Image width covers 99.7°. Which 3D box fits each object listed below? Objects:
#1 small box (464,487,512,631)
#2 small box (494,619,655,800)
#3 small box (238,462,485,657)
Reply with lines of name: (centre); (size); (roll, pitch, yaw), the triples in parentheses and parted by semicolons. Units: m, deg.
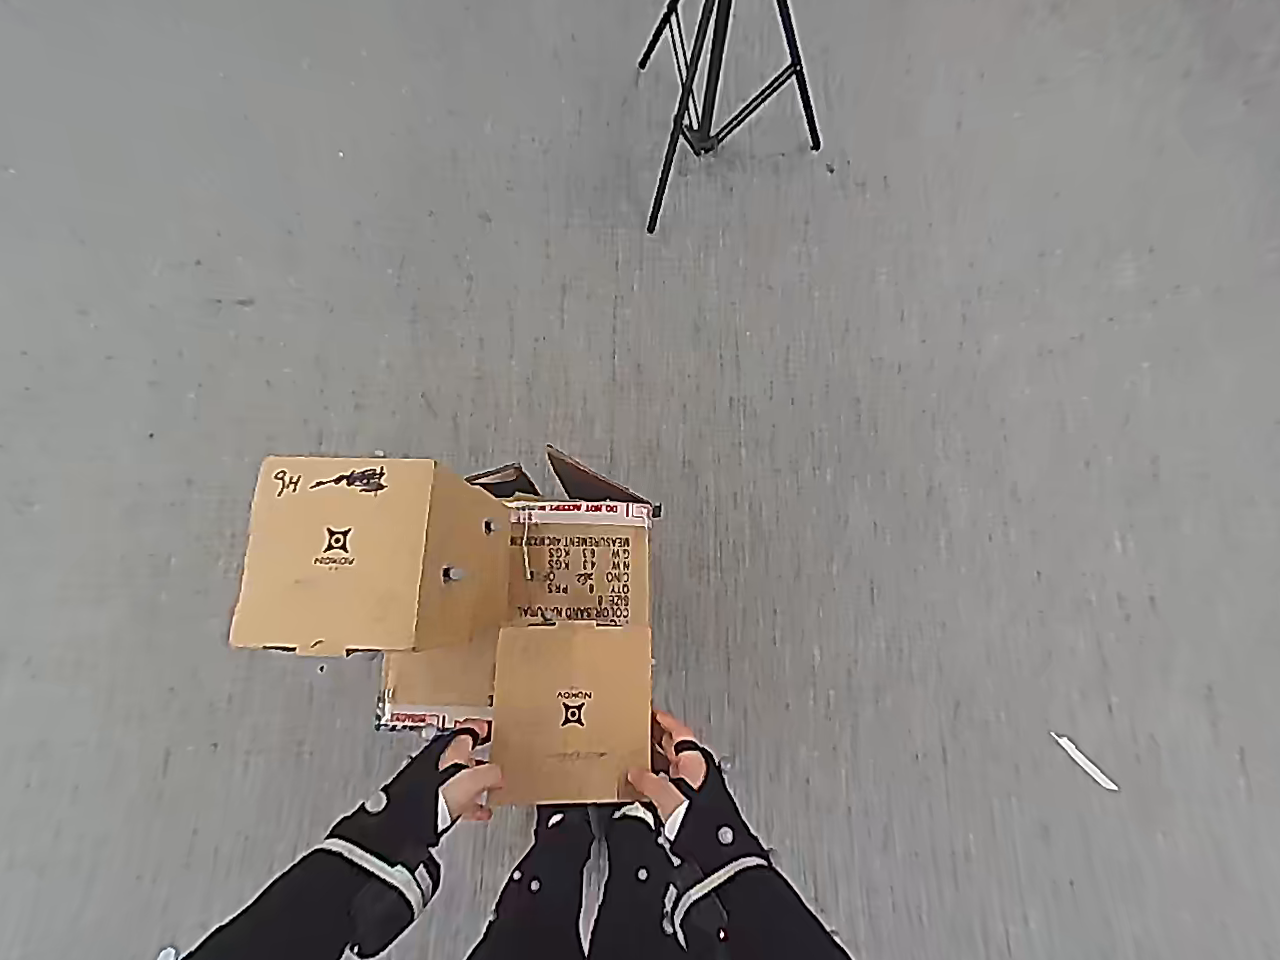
small box: (-0.276, 0.112, 0.732); (0.168, 0.176, 0.179); (-1, 78, 1)
small box: (-0.074, 0.258, 0.647); (0.168, 0.176, 0.179); (0, 76, -5)
small box: (-0.271, 0.085, 0.570); (0.168, 0.176, 0.179); (0, 78, 1)
